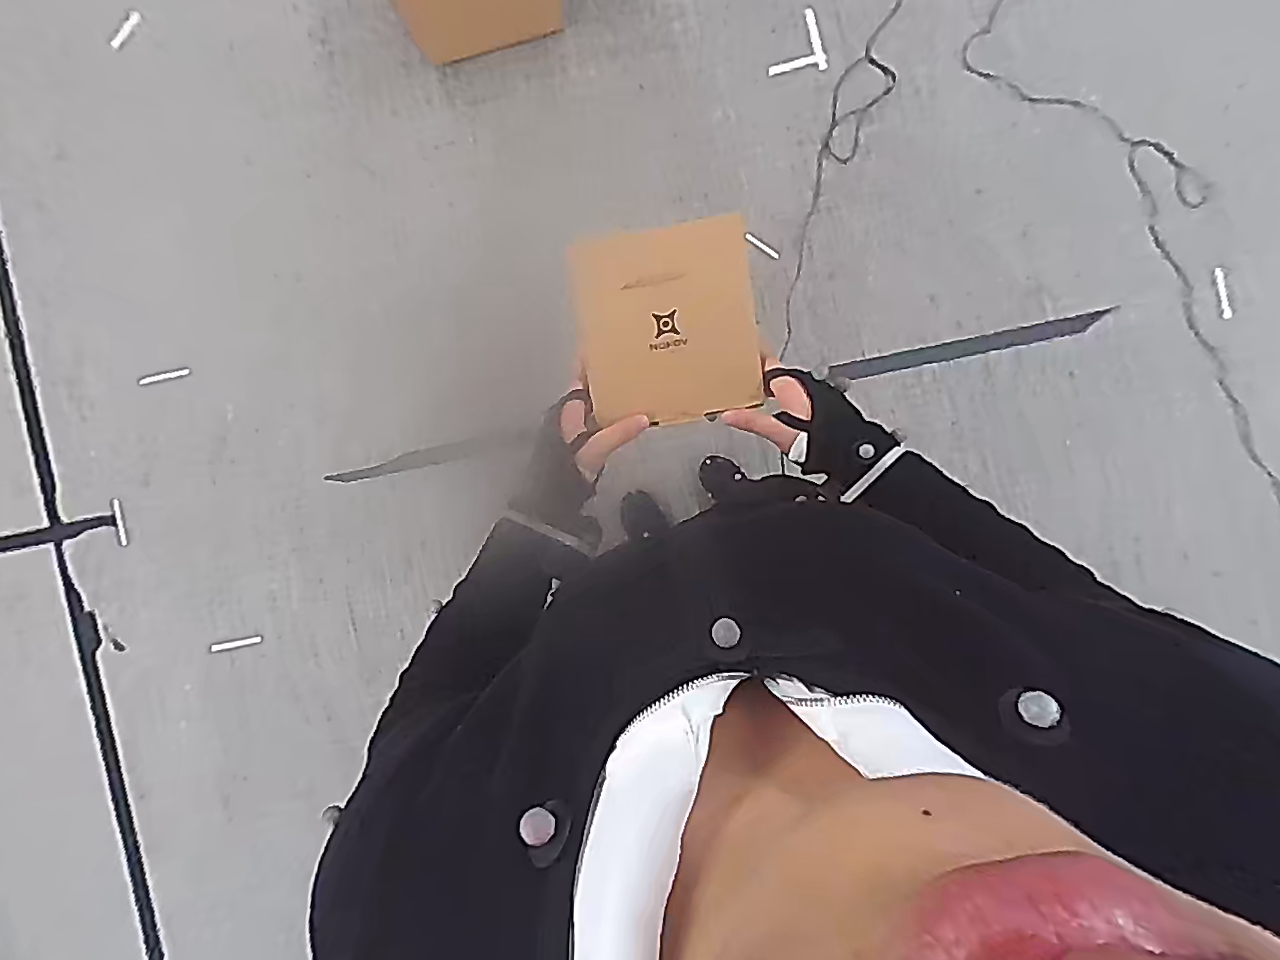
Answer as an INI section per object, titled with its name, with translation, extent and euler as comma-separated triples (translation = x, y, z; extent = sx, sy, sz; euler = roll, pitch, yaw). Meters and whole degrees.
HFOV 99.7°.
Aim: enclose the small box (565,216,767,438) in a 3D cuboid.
[small box]
translation = 0.029, -0.153, 0.572
extent = 0.168, 0.176, 0.179
euler = -10, 102, 3
